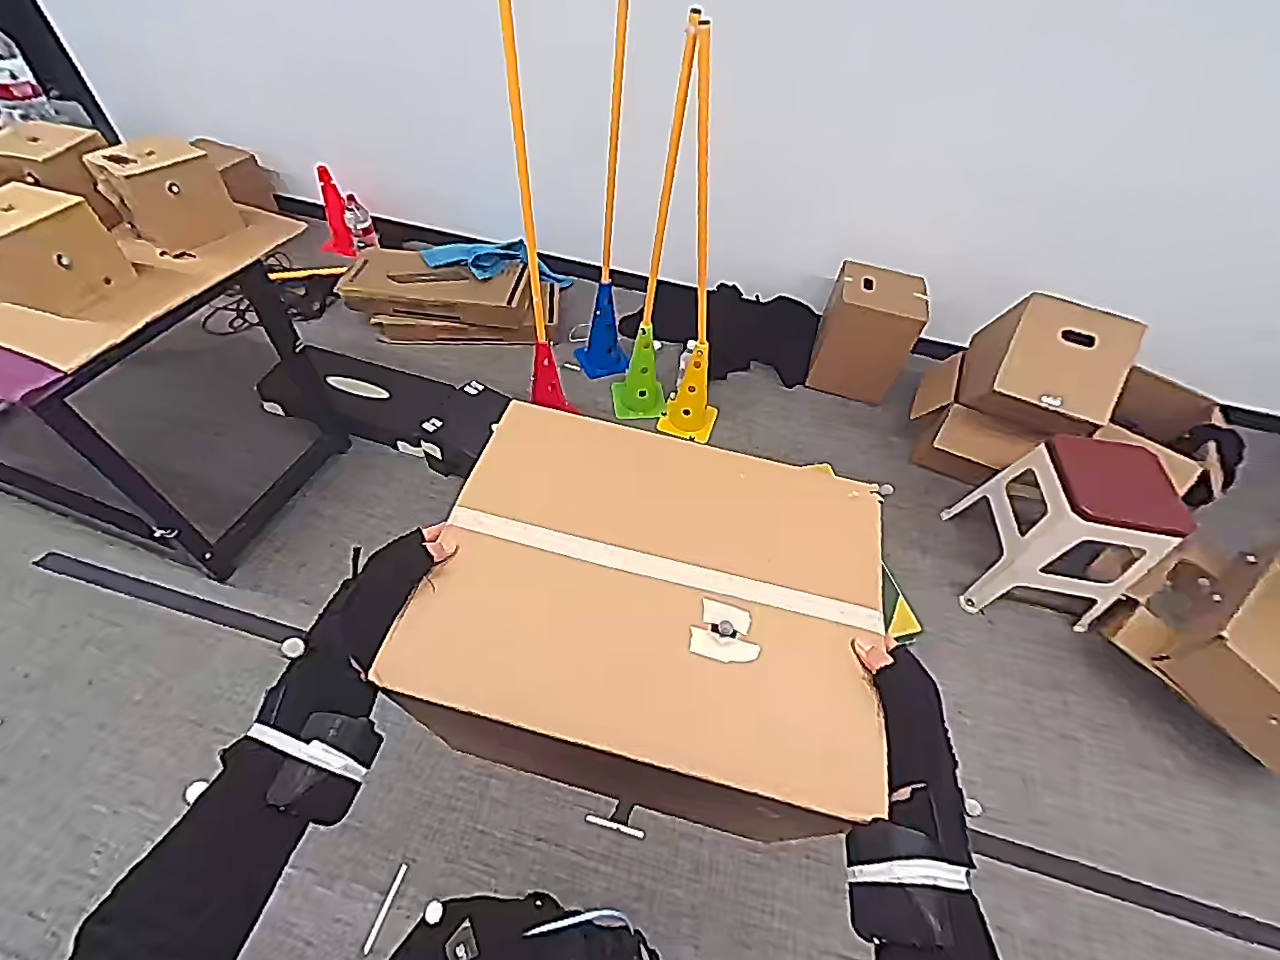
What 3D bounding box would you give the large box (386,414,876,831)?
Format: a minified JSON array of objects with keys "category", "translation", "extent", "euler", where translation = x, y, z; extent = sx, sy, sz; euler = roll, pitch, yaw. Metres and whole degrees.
[{"category":"large box","translation":[0.005,0.173,0.627],"extent":[0.408,0.320,0.320],"euler":[14,55,4]}]
